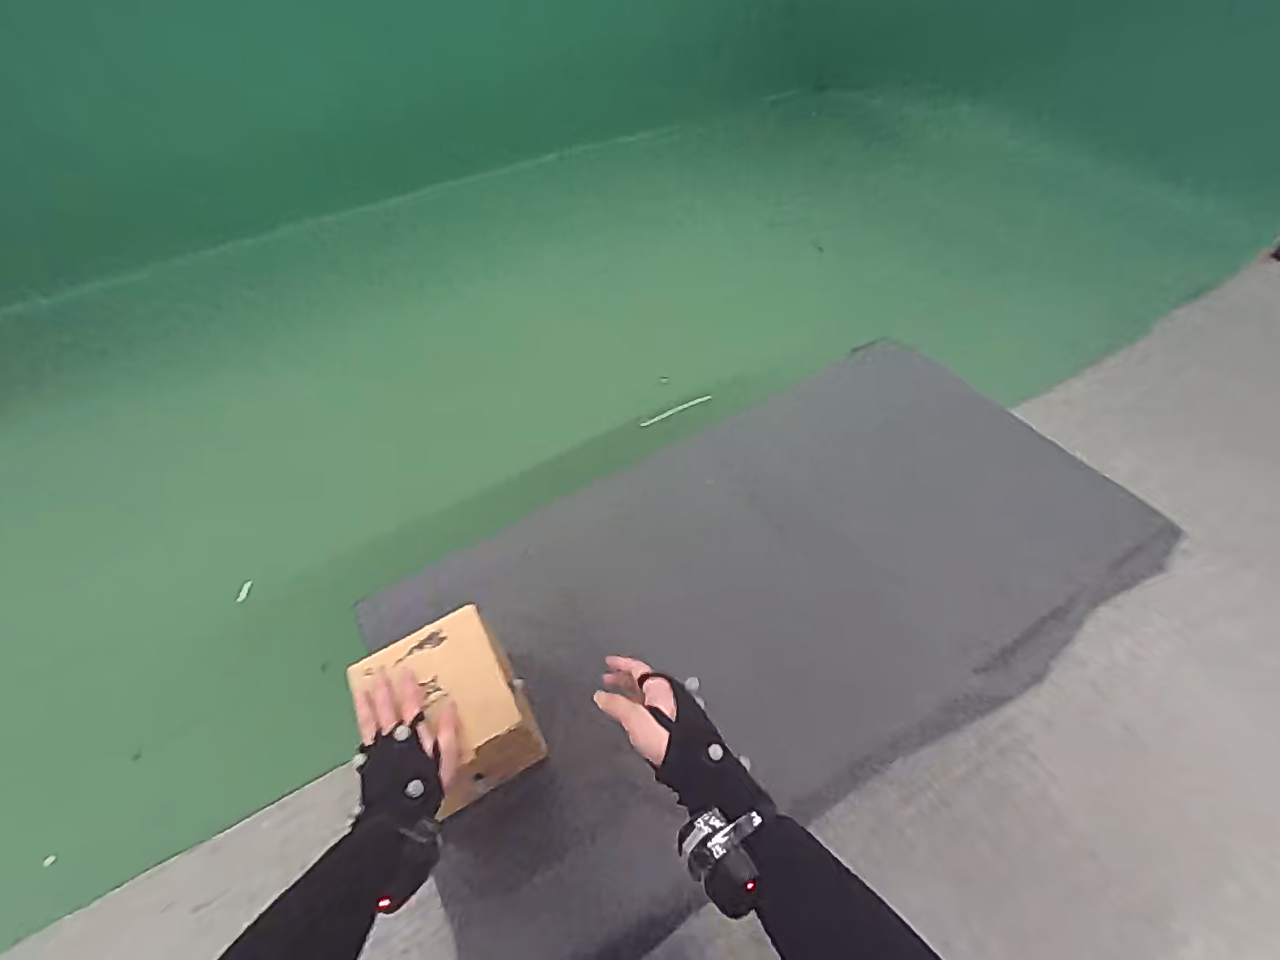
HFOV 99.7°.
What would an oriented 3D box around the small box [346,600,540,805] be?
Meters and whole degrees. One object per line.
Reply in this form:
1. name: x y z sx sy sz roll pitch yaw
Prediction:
1. small box: -0.246 0.295 0.704 0.168 0.176 0.179 -26 57 -17
